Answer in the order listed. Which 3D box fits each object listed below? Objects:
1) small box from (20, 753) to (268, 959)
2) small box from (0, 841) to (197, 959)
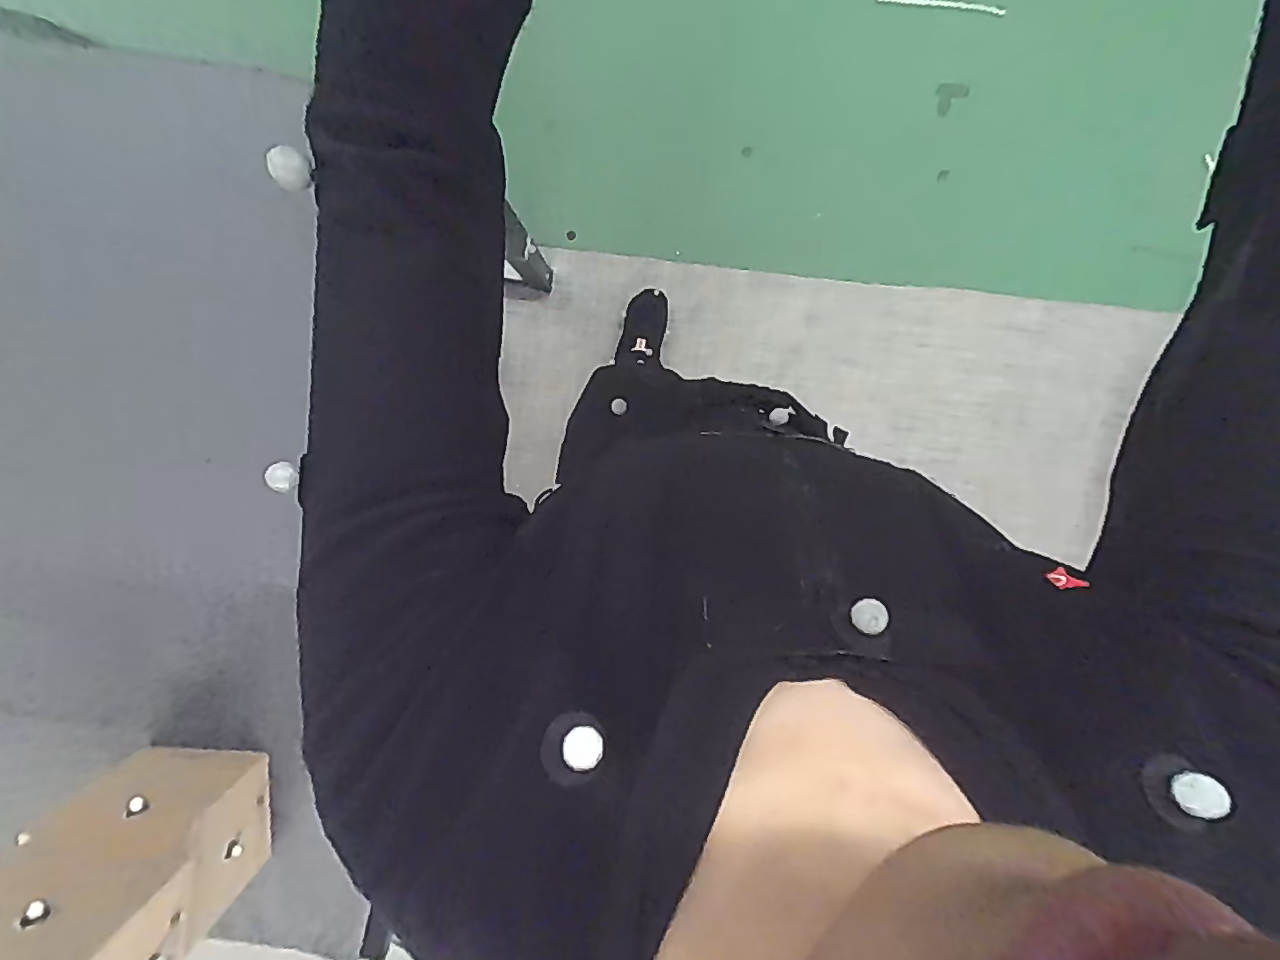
[{"bbox_3d":[-0.613,0.477,0.695,0.179,0.176,0.168,3,96,0],"label":"small box"},{"bbox_3d":[-0.597,0.498,0.532,0.179,0.176,0.168,11,96,-3],"label":"small box"}]
